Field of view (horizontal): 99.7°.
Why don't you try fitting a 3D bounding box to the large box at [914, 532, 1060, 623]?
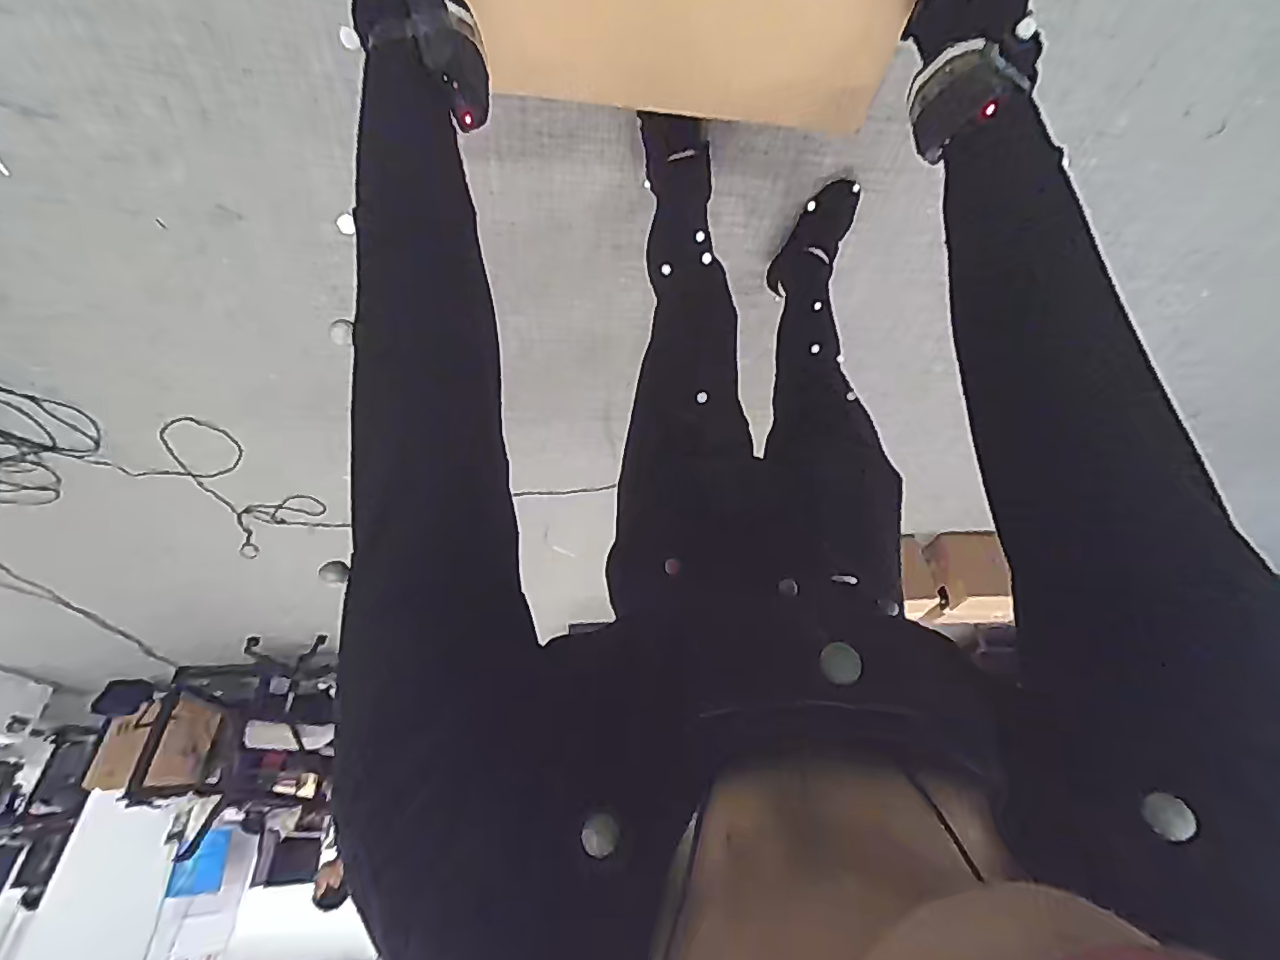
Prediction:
[{"bbox_3d":[1.559,0.448,2.470,0.408,0.320,0.320,0,146,-7],"label":"large box"}]
